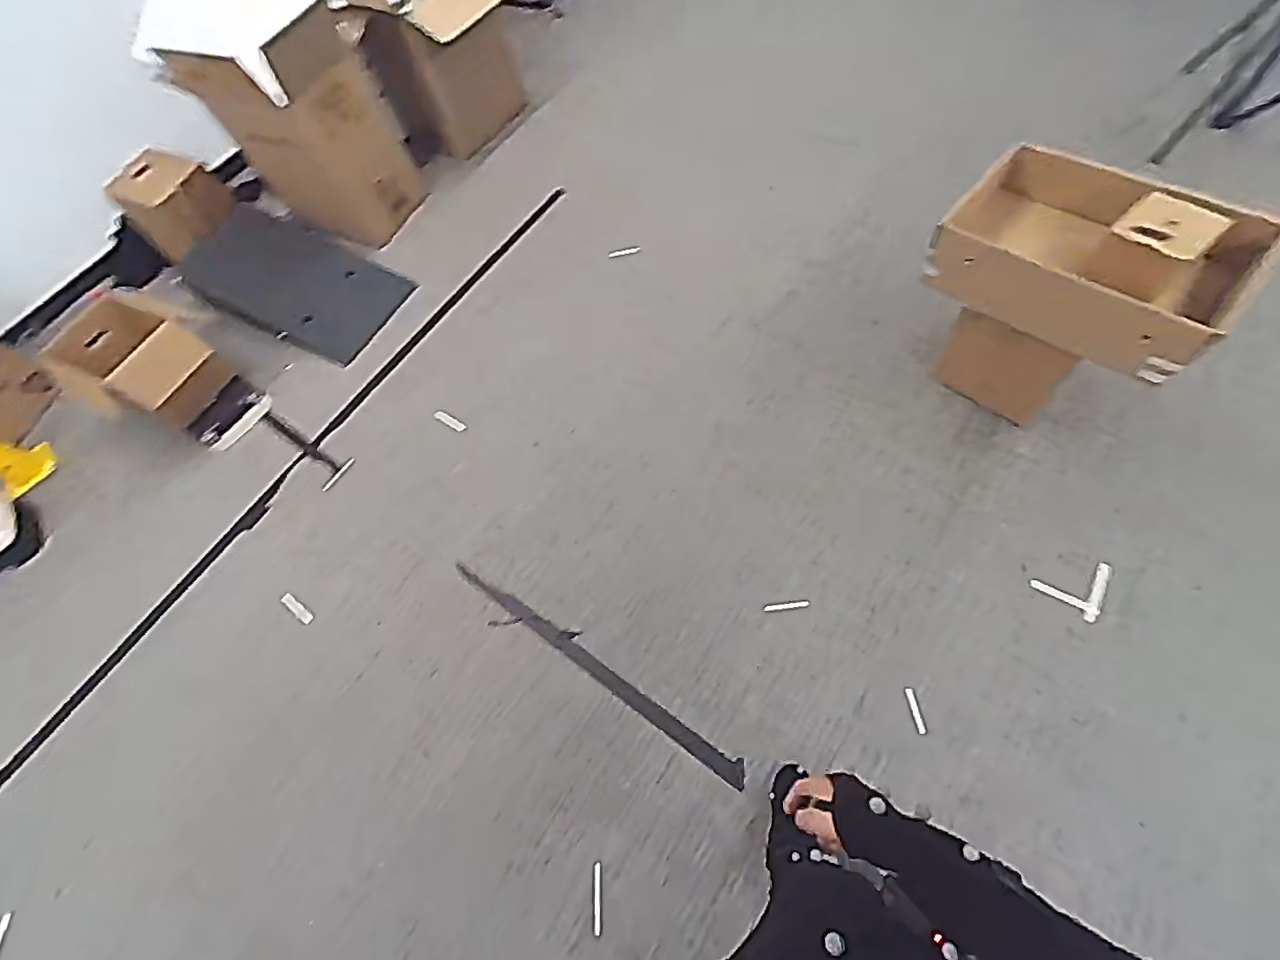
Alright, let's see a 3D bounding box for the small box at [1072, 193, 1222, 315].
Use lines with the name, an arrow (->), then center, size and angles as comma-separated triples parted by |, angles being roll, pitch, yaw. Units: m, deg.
small box -> 1.173, -0.525, 1.271 | 0.179, 0.176, 0.168 | -39, 63, -11
